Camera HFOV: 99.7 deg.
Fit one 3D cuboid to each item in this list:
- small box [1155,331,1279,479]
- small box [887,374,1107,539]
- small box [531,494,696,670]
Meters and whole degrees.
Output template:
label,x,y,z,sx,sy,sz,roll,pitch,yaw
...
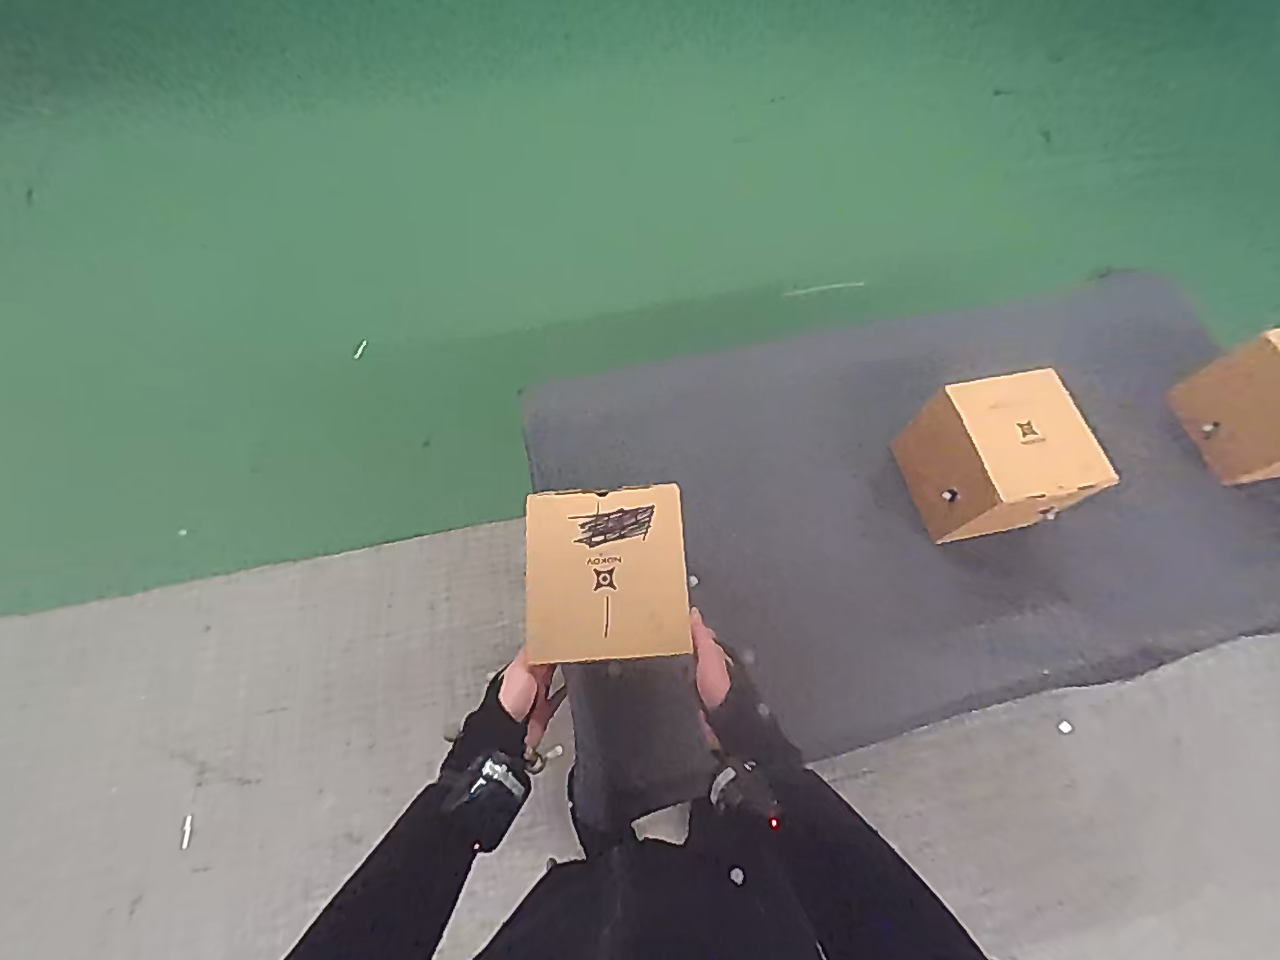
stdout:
label,x,y,z,sx,sy,sz,roll,pitch,yaw
small box,0.975,-0.112,0.831,0.168,0.176,0.179,-9,68,-5
small box,0.496,-0.024,0.784,0.168,0.176,0.179,-11,66,-8
small box,-0.027,0.125,0.632,0.168,0.176,0.179,-4,73,2
